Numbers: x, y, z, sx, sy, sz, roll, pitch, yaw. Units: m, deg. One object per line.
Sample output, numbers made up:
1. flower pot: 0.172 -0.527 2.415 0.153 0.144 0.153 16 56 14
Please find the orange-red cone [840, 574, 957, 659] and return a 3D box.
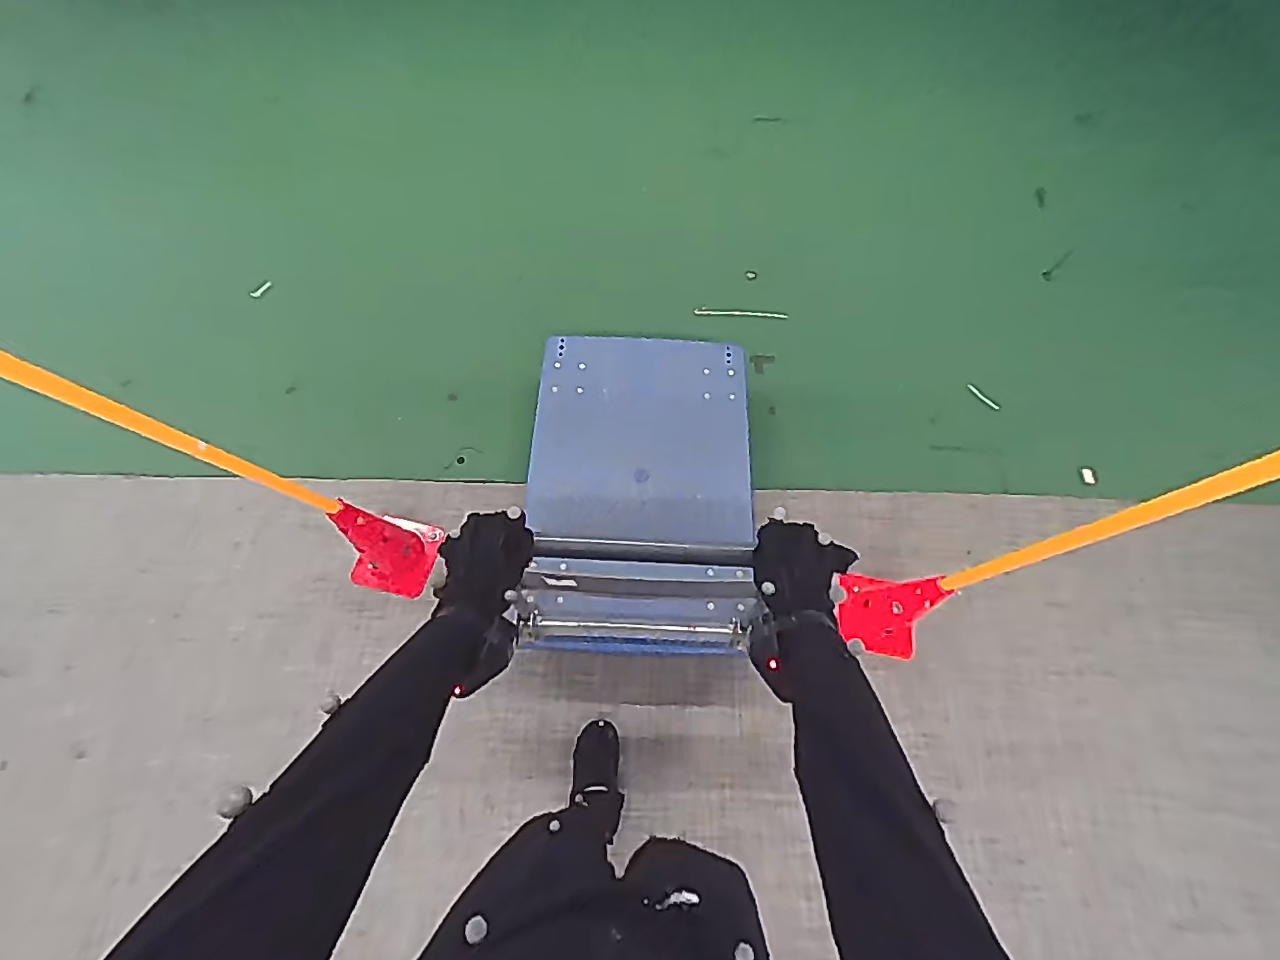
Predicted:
1. orange-red cone: 0.633 0.288 1.271 0.198 0.360 0.199 11 67 4
